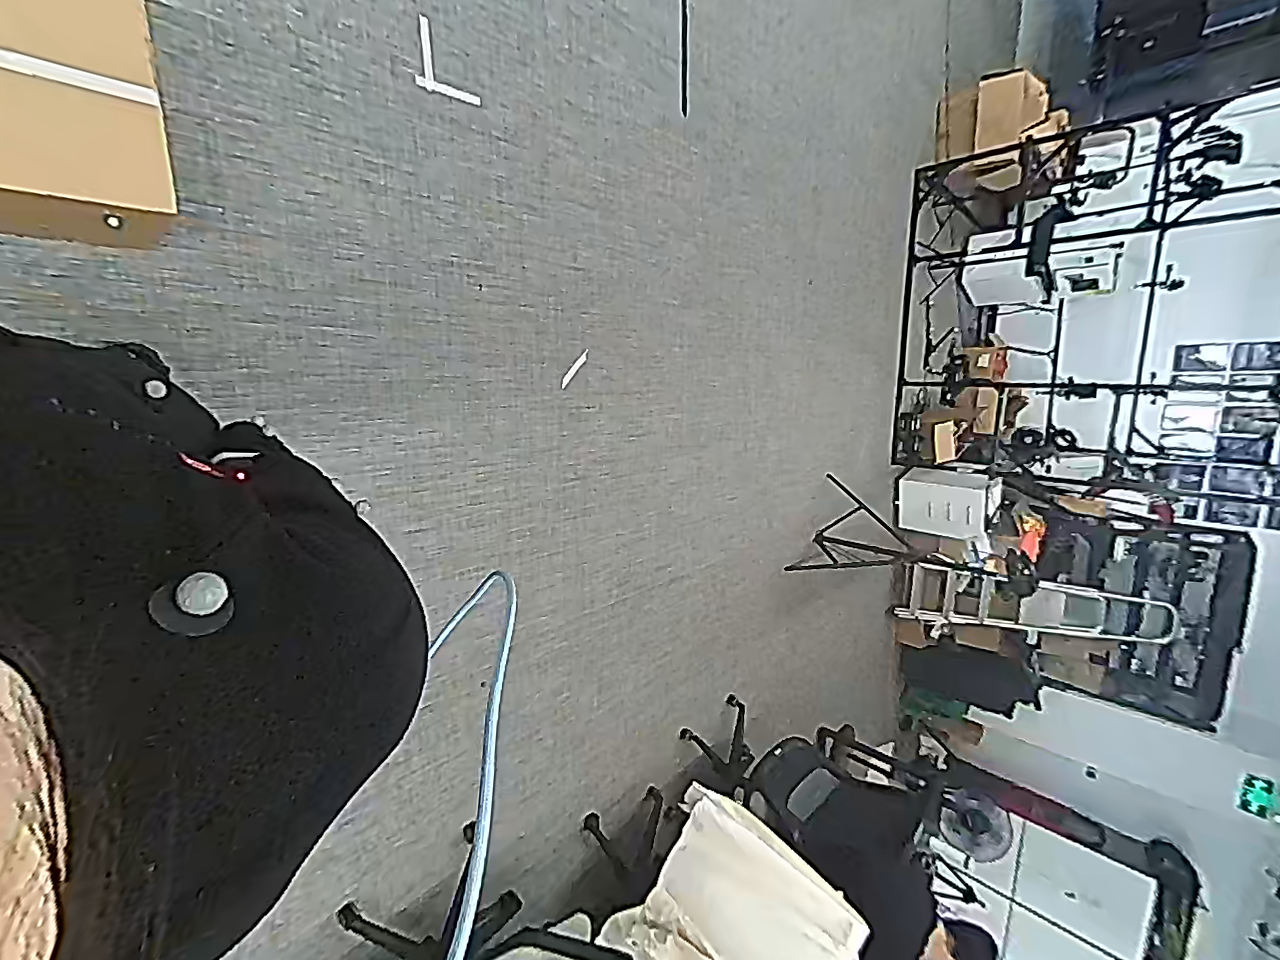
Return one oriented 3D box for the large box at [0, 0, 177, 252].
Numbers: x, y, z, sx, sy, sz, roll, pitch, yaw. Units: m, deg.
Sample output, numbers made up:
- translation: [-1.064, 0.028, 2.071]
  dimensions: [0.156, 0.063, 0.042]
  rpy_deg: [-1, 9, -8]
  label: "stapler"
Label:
- translation: [-0.950, -0.524, 0.754]
  dimensions: [0.408, 0.320, 0.320]
  rpy_deg: [-13, 105, -45]
  label: "large box"
